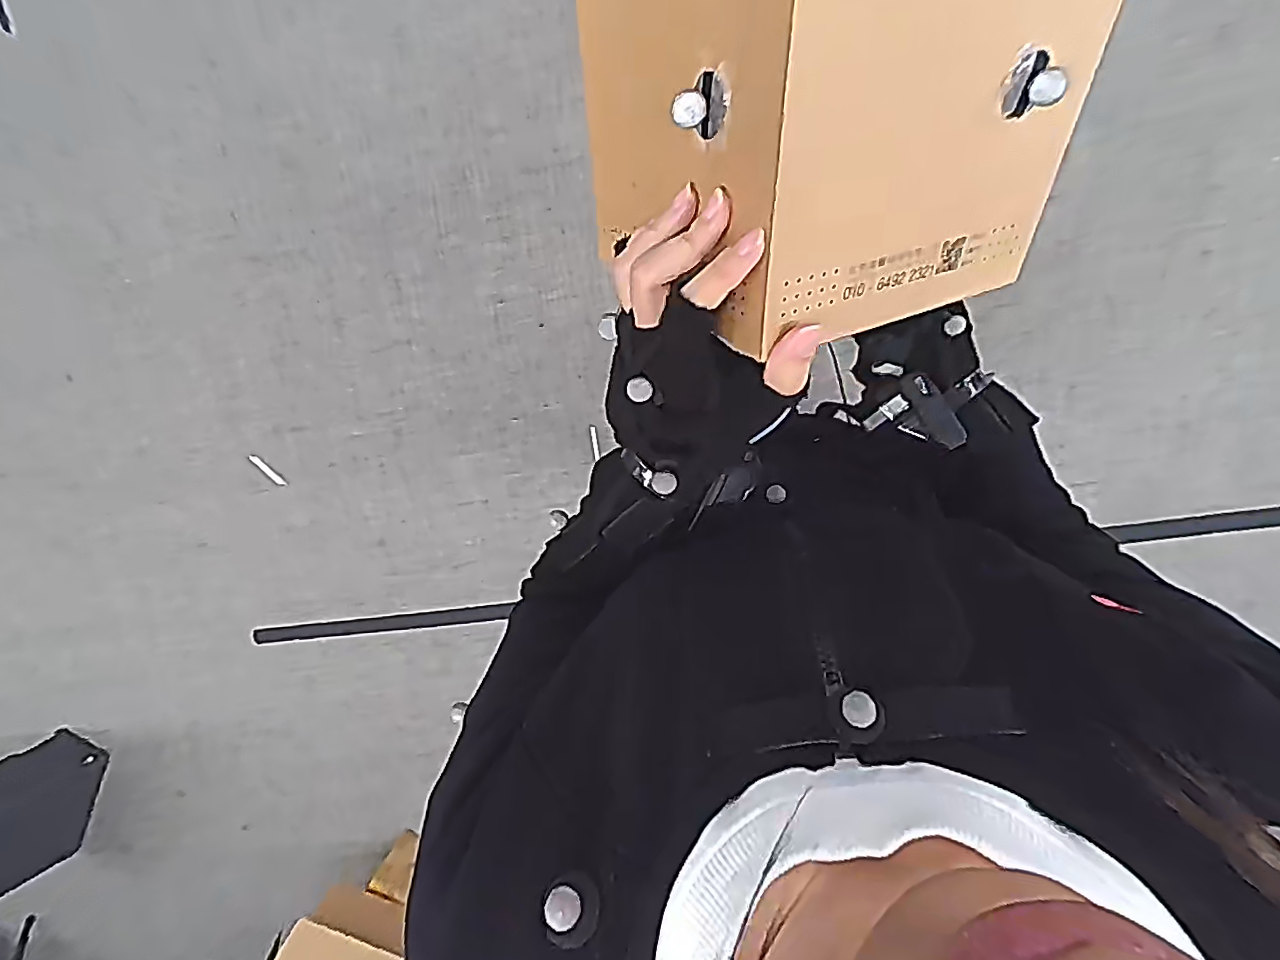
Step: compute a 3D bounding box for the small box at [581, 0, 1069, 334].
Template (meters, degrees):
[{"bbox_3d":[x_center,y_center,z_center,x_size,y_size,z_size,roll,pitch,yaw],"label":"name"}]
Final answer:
[{"bbox_3d":[0.082,-0.191,0.285,0.168,0.179,0.176,-19,132,-18],"label":"small box"}]
